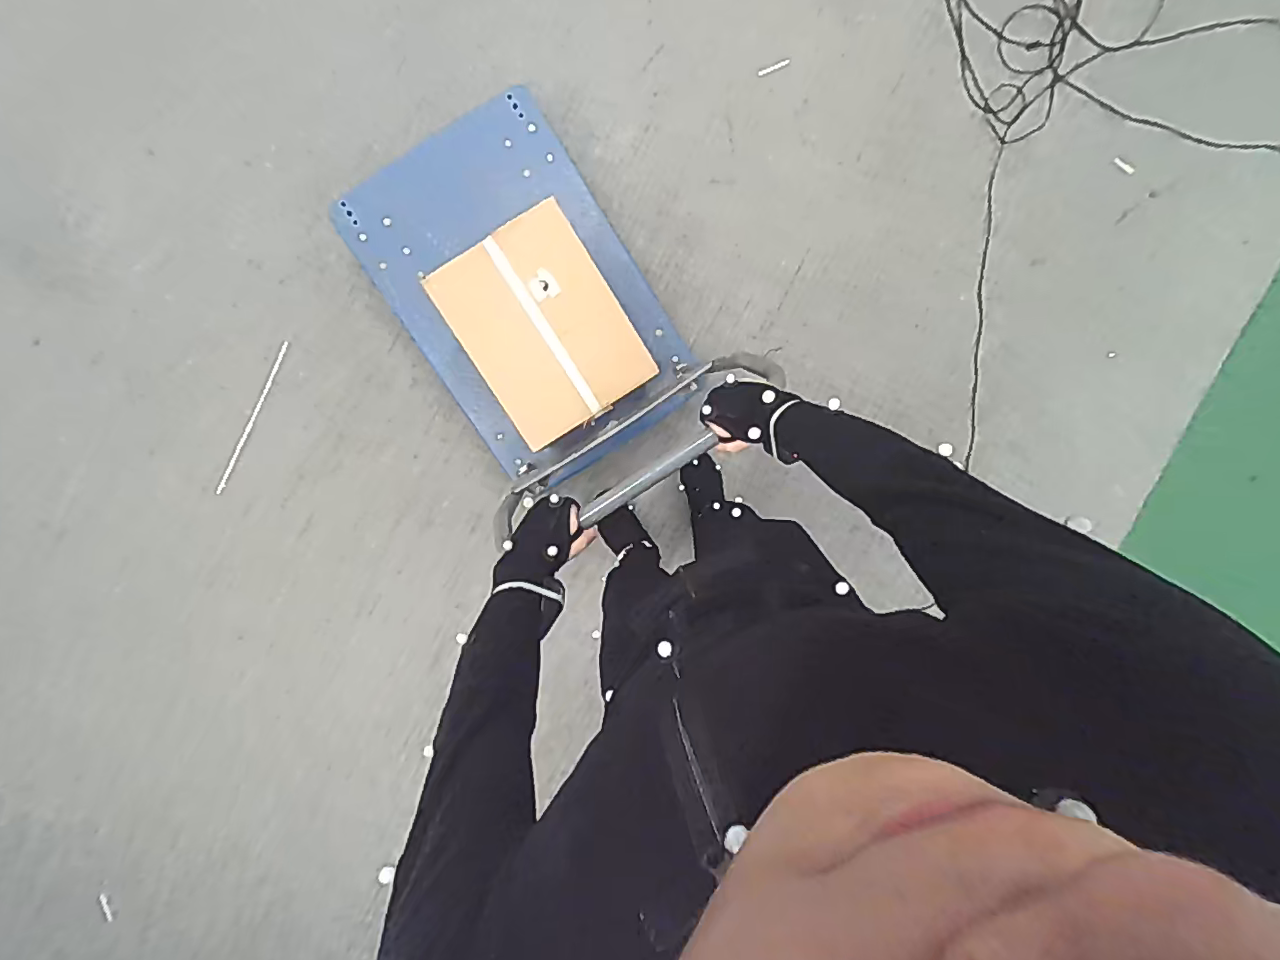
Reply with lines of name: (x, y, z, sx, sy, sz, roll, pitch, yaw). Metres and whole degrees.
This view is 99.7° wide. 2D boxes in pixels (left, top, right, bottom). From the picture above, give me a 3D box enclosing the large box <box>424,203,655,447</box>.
large box: (-0.207, -0.325, 1.249, 0.320, 0.320, 0.408, -33, 97, -1)
